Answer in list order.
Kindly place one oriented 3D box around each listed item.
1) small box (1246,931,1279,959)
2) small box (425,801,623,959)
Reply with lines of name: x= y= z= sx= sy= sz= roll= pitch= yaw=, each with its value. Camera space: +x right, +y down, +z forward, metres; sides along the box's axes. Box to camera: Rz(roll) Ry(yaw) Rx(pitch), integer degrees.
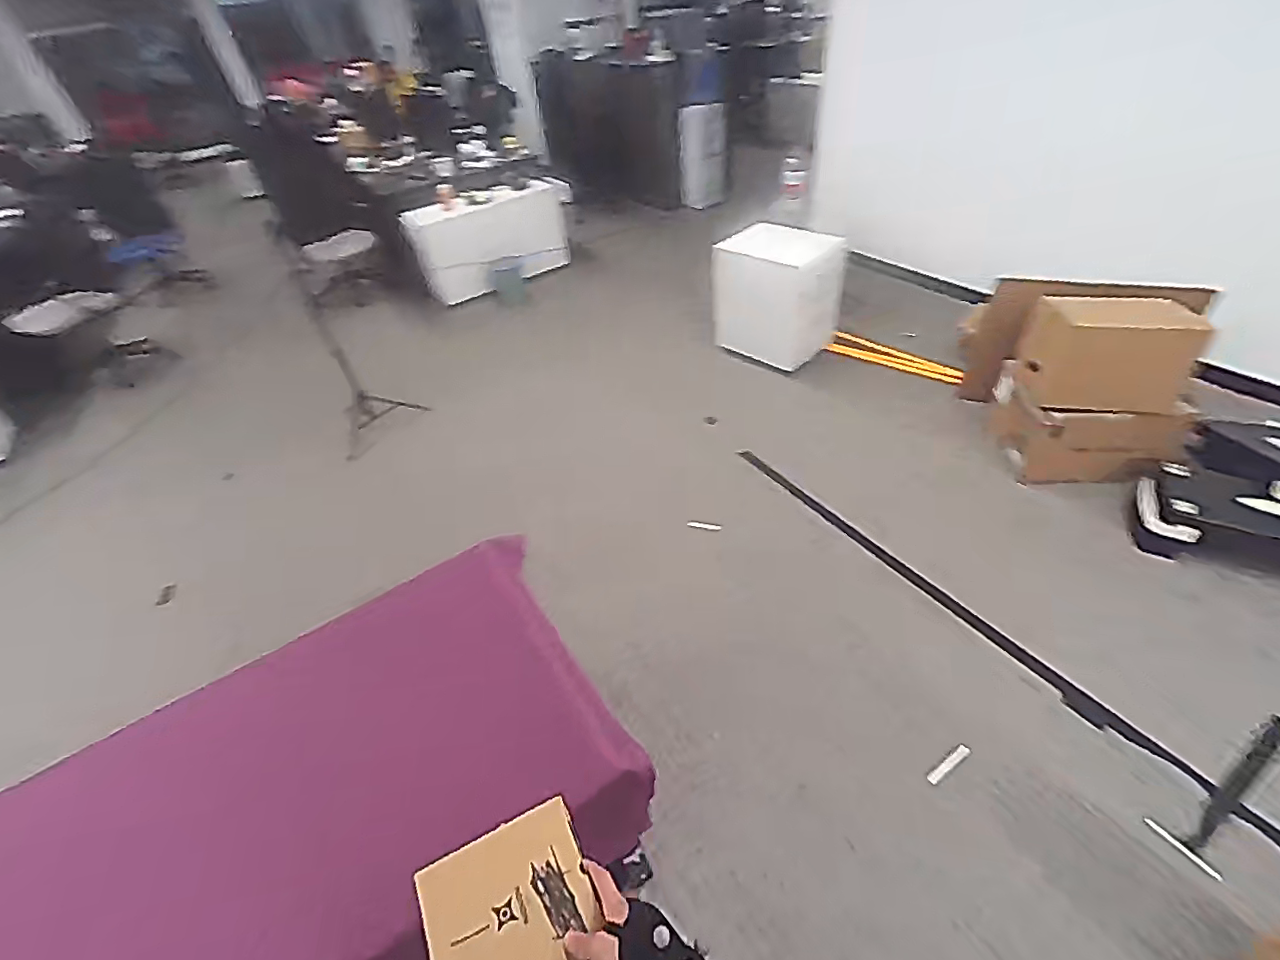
small box: x=1.292 y=0.991 z=1.020 sx=0.179 sy=0.176 sz=0.168 roll=-31 pitch=47 yaw=-21
small box: x=-0.132 y=0.523 z=0.638 sx=0.179 sy=0.176 sz=0.168 roll=-19 pitch=48 yaw=-19
